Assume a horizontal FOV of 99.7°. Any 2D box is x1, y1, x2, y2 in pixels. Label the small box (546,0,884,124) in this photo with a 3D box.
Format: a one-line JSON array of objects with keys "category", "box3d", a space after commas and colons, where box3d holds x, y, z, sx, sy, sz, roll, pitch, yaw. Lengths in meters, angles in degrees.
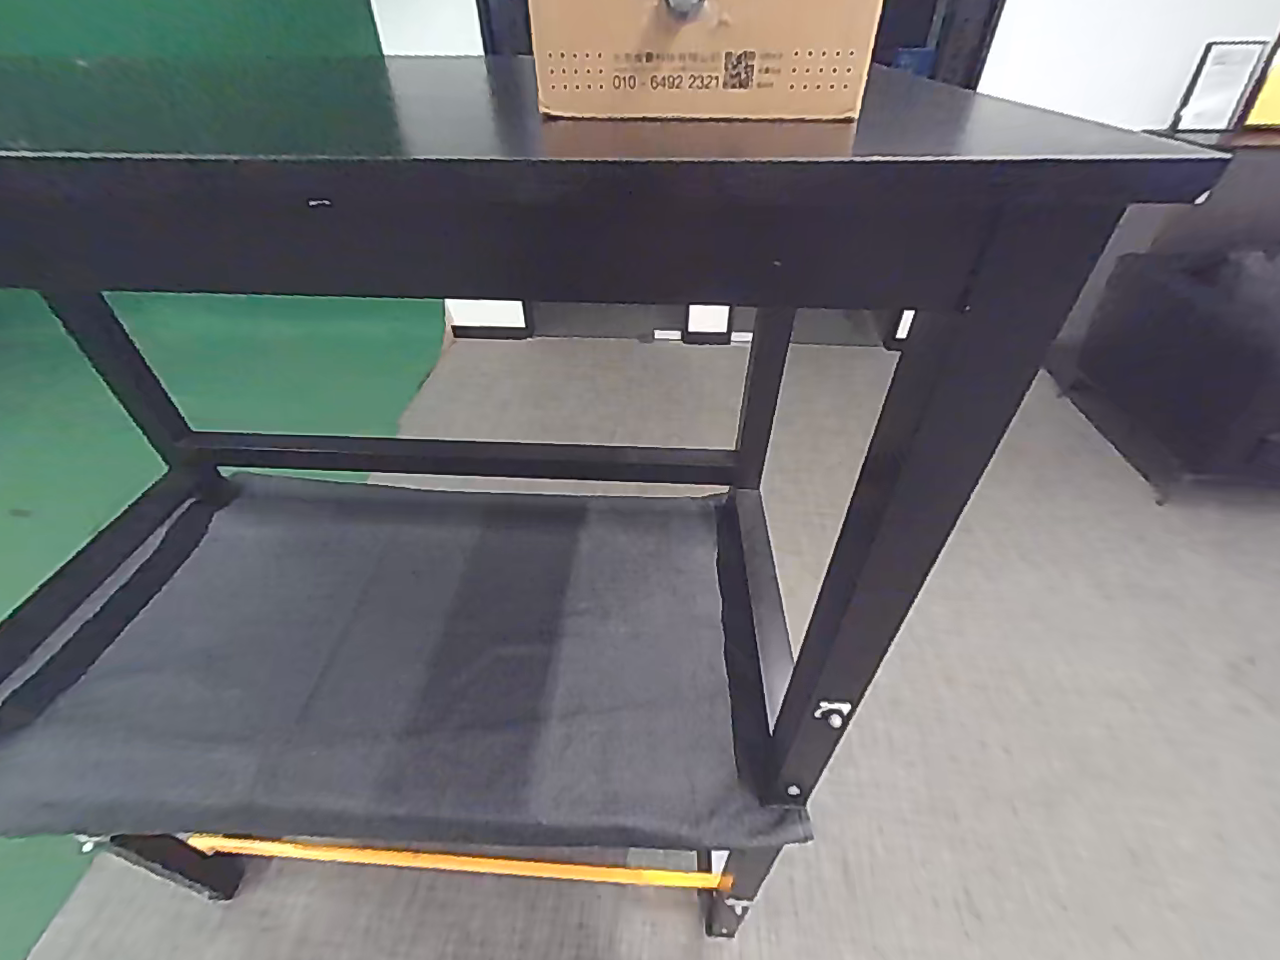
[{"category": "small box", "box3d": [0.043, -0.305, 0.289, 0.168, 0.176, 0.179, 5, 42, 7]}]
